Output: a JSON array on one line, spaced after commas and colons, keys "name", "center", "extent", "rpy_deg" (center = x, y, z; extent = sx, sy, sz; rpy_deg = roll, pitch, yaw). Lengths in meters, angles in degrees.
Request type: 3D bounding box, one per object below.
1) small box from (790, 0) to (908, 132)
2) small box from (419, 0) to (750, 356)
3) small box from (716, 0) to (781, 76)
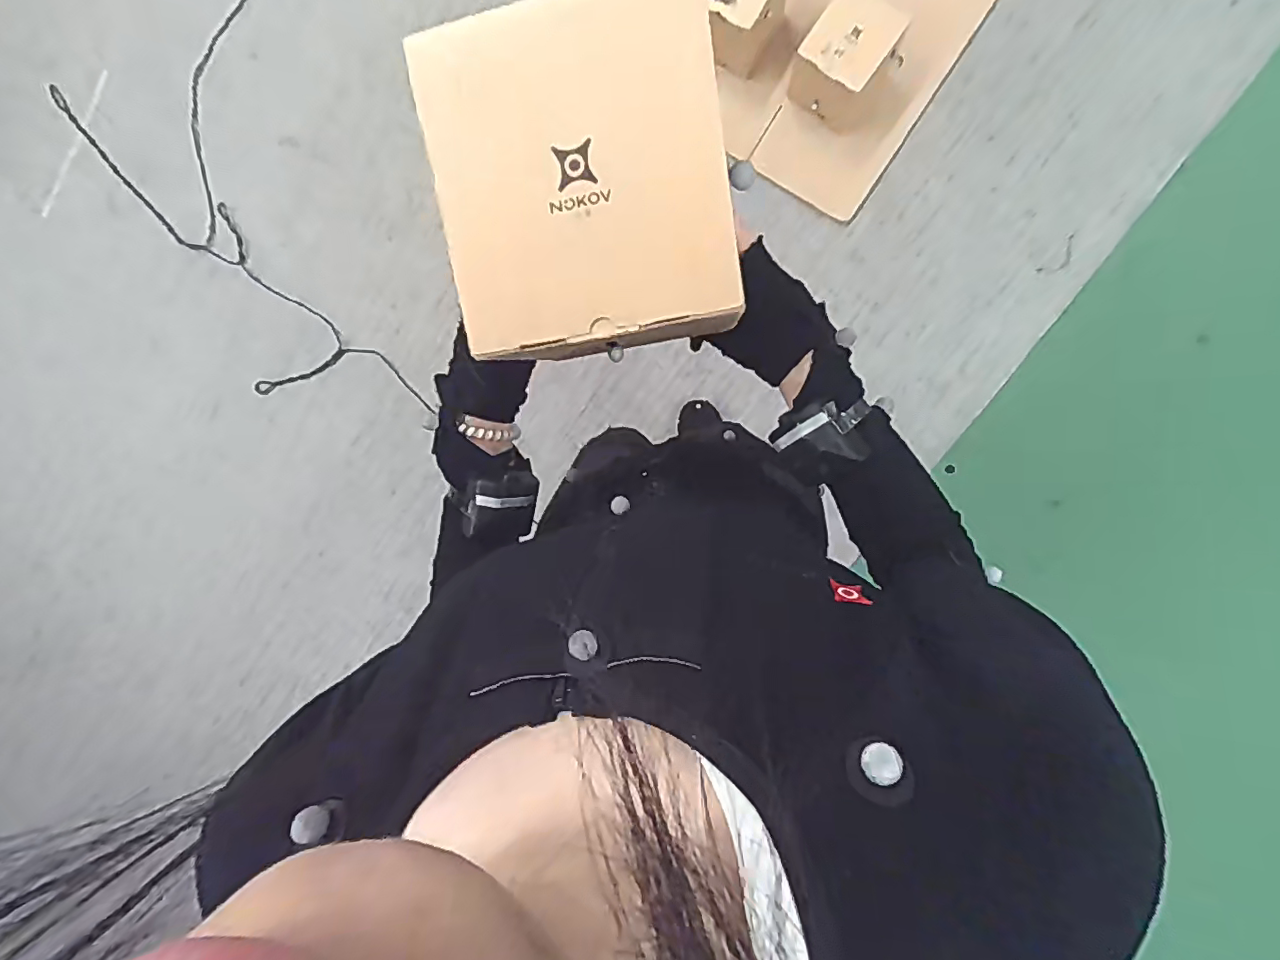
[{"name": "small box", "center": [0.460, -0.950, 1.229], "extent": [0.168, 0.176, 0.179], "rpy_deg": [38, 100, 3]}, {"name": "small box", "center": [-0.021, -0.187, 0.380], "extent": [0.168, 0.176, 0.179], "rpy_deg": [-8, 102, 9]}, {"name": "small box", "center": [0.218, -1.090, 1.242], "extent": [0.168, 0.176, 0.179], "rpy_deg": [32, 99, 3]}]
